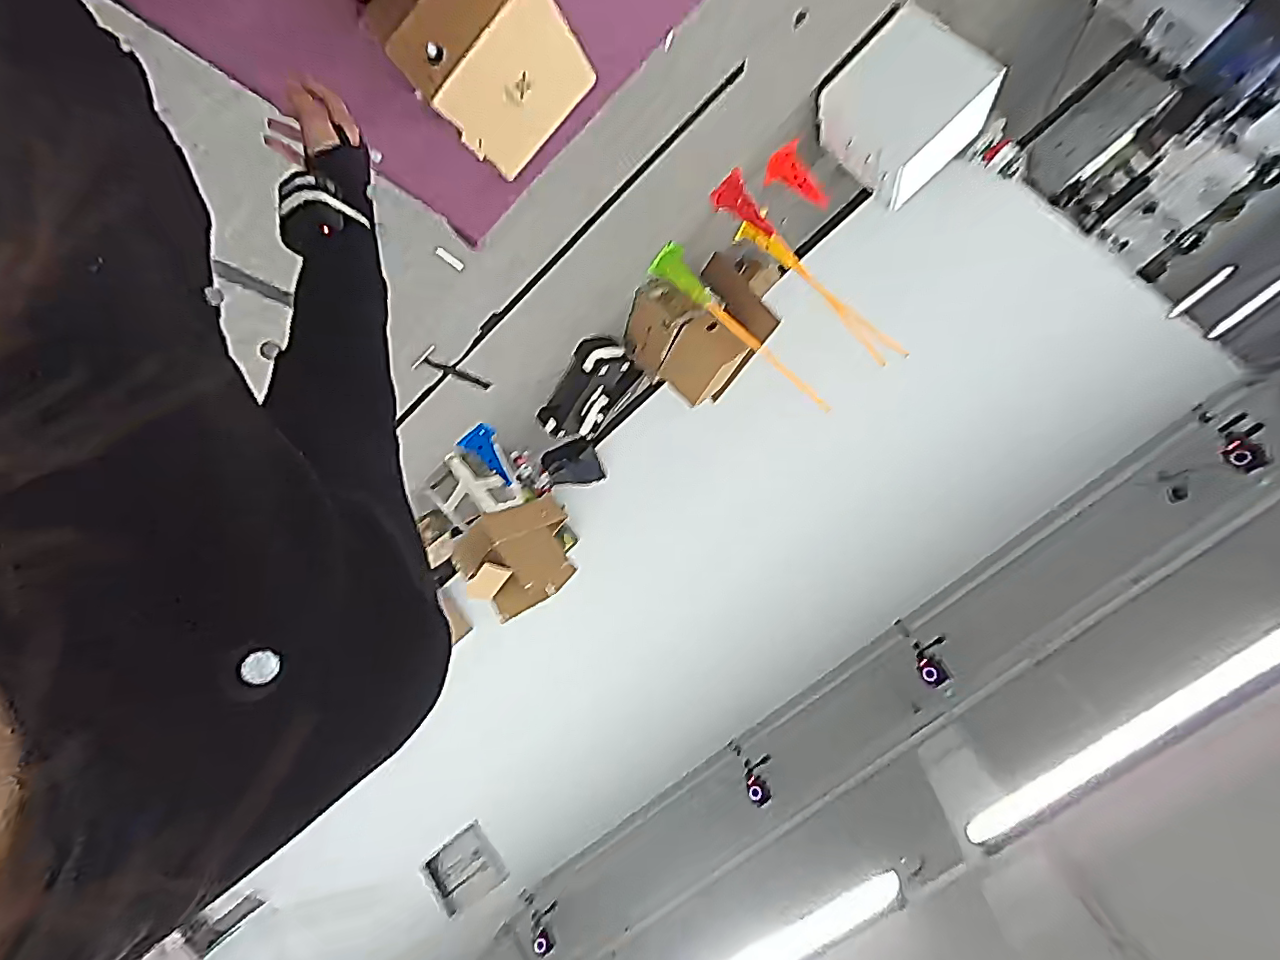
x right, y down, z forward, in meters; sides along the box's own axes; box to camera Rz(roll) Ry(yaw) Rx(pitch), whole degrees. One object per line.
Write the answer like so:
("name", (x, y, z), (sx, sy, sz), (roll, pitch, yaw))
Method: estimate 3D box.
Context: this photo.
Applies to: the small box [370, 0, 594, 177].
("small box", (-0.197, -0.541, 0.679), (0.179, 0.176, 0.168), (-42, 166, 14))
